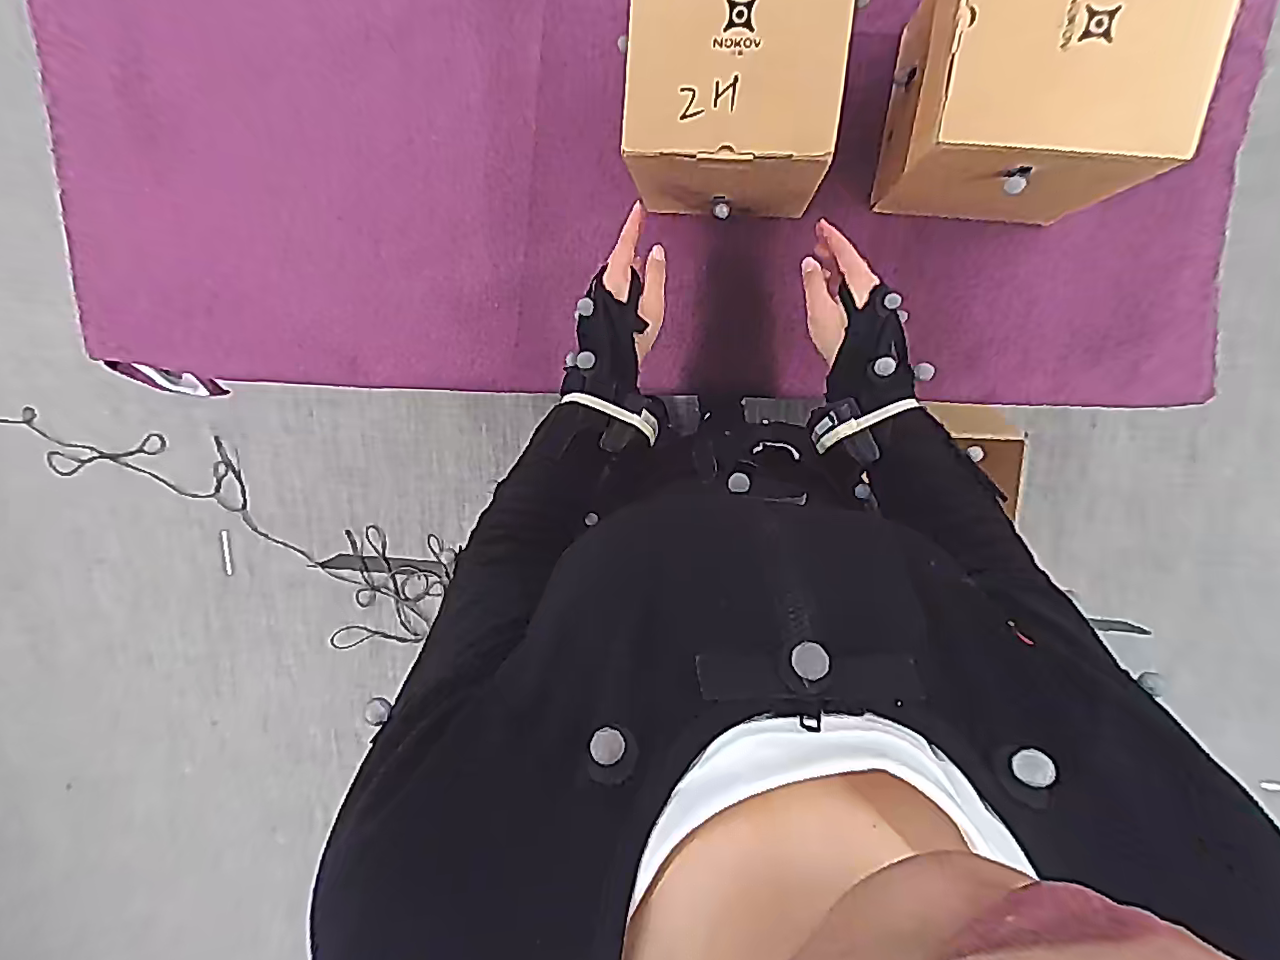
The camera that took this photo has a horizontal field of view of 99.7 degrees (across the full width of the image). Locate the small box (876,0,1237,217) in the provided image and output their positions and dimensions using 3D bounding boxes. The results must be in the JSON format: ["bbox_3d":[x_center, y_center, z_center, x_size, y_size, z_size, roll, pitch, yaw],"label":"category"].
[{"bbox_3d":[0.324,-0.333,0.452,0.179,0.176,0.168,8,102,7],"label":"small box"}]

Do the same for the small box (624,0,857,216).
[{"bbox_3d":[0.085,-0.354,0.477,0.168,0.176,0.179,6,101,7],"label":"small box"}]
